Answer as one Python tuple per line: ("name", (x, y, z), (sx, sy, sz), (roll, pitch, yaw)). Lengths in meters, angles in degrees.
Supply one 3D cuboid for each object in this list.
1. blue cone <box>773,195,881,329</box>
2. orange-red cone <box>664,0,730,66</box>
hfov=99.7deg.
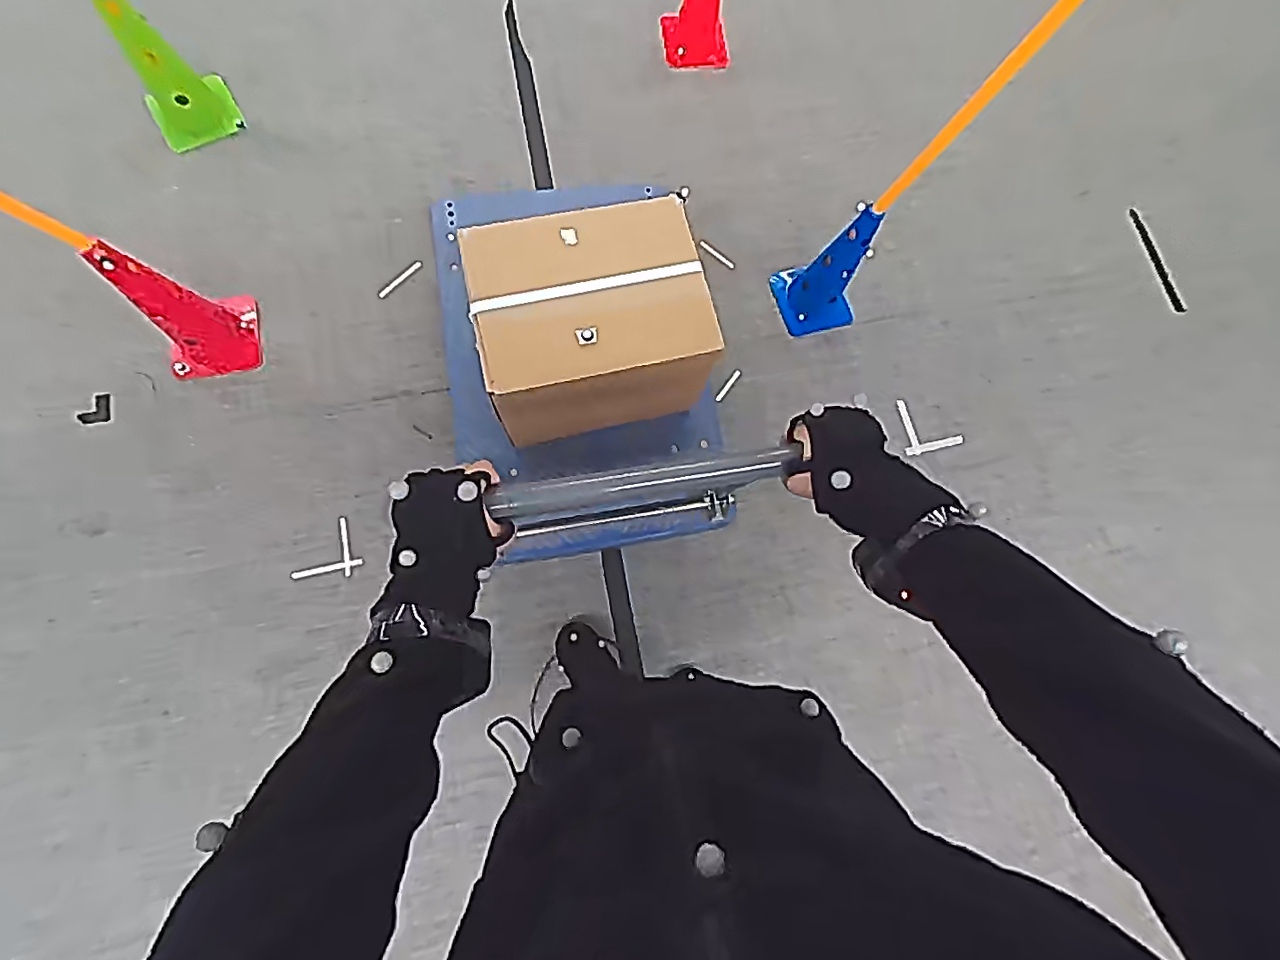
("blue cone", (0.501, -0.559, 1.367), (0.193, 0.380, 0.192), (-14, 78, -9))
("orange-red cone", (0.195, -1.405, 1.512), (0.199, 0.360, 0.198), (-4, 78, -8))
